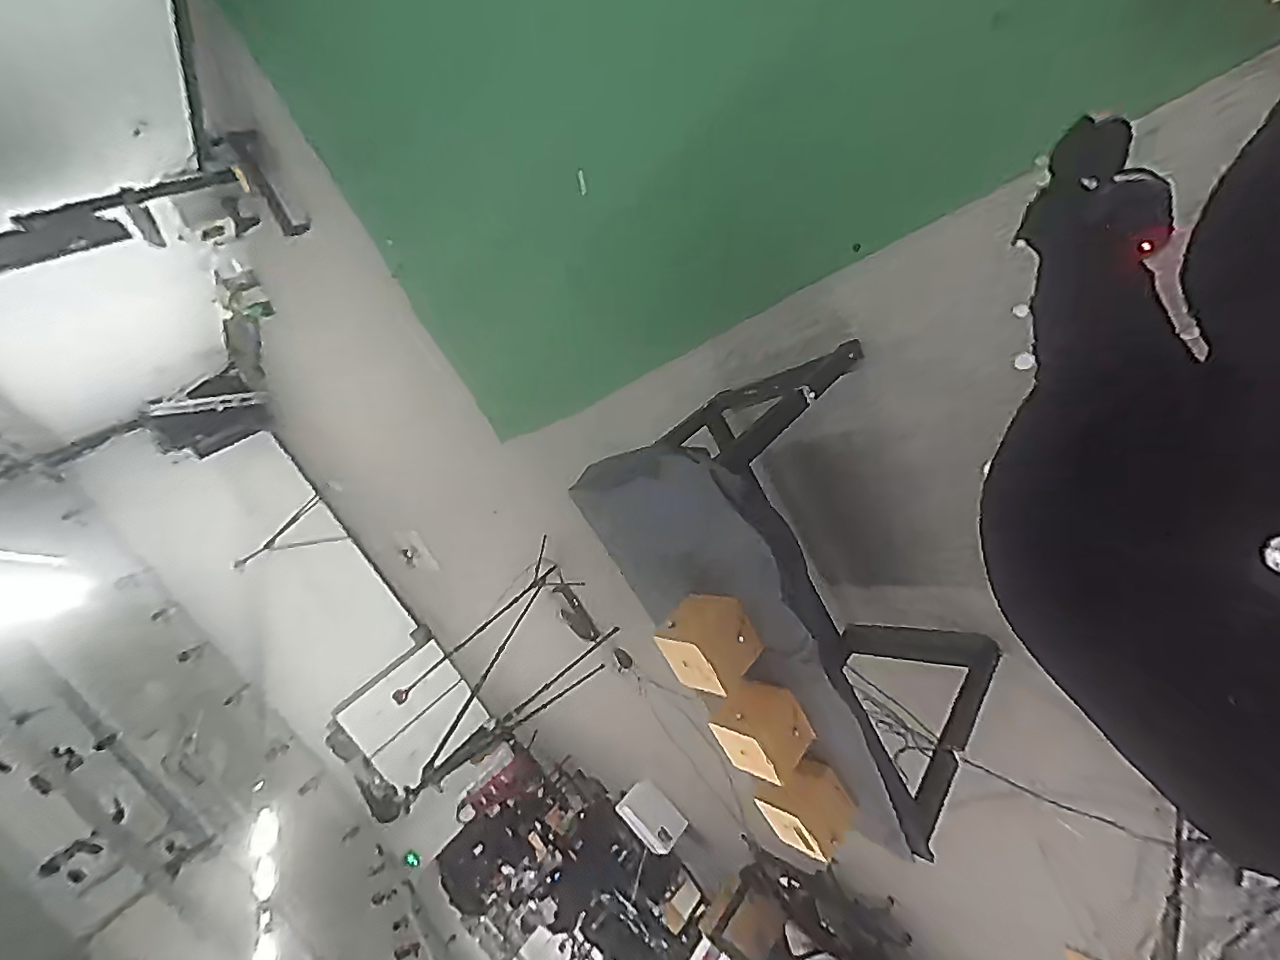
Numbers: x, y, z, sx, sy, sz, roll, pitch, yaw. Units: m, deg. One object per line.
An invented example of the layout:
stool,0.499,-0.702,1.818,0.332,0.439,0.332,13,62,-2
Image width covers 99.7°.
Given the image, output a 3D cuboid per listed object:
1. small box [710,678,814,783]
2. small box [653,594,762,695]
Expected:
small box,0.326,0.652,1.433,0.179,0.176,0.168,-13,112,52
small box,0.173,0.405,1.365,0.179,0.176,0.168,-12,114,53
